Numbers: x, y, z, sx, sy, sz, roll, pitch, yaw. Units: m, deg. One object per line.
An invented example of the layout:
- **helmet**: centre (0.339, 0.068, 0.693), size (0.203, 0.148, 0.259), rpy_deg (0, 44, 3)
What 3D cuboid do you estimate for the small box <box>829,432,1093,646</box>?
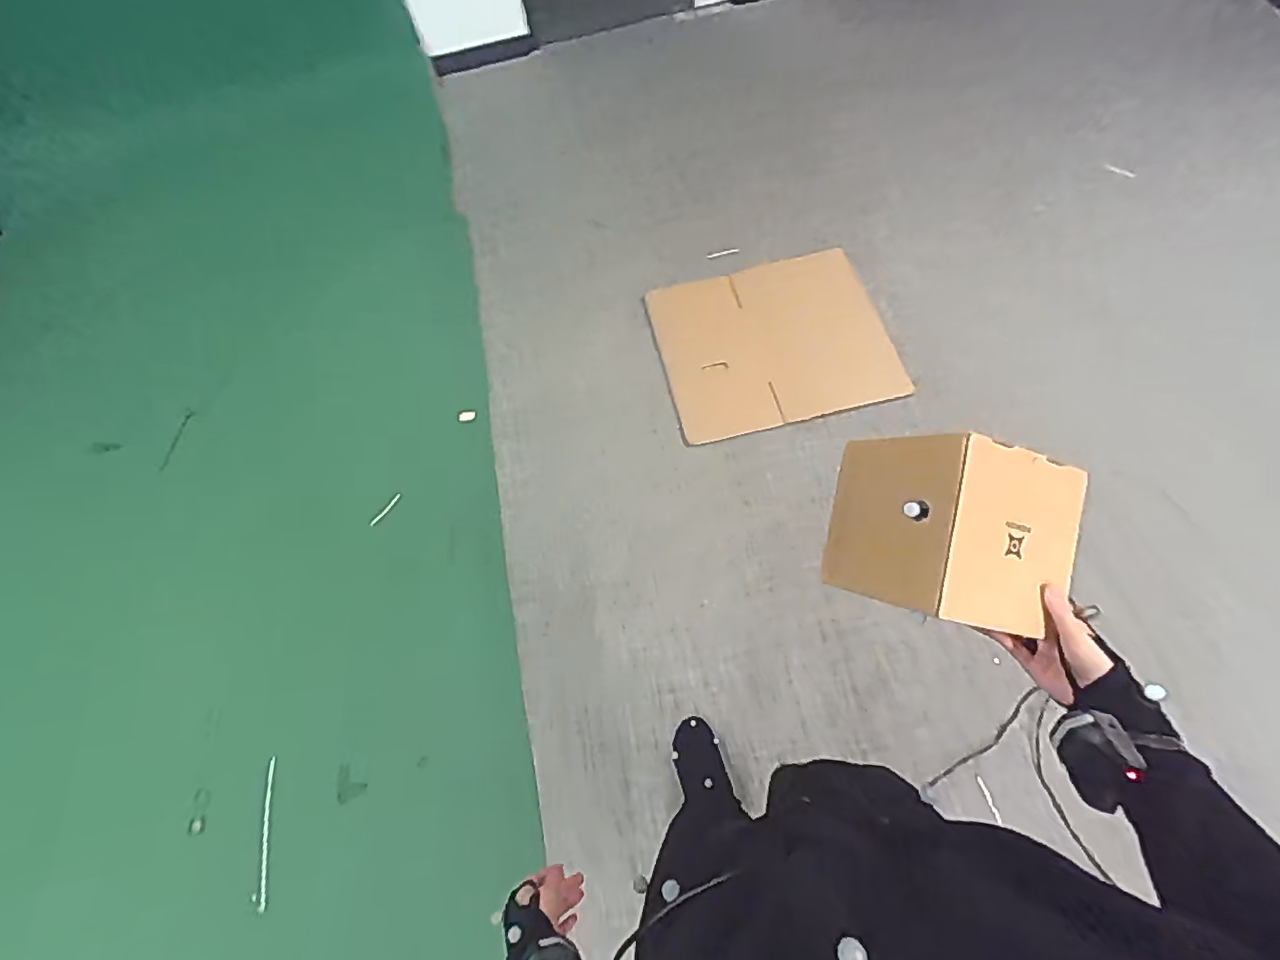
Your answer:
- **small box**: centre (0.332, 0.059, 0.585), size (0.168, 0.176, 0.179), rpy_deg (14, 85, -18)
